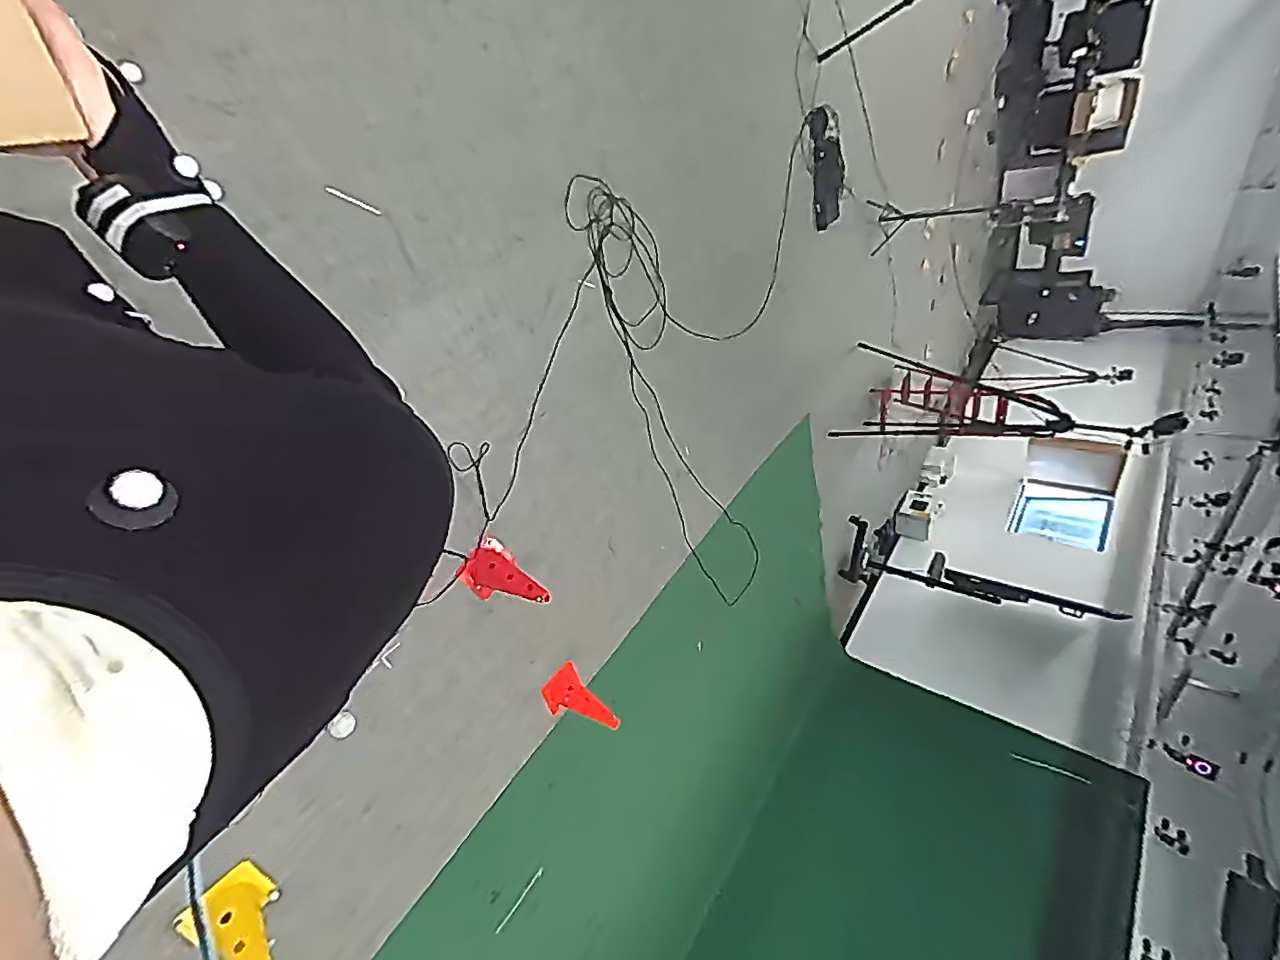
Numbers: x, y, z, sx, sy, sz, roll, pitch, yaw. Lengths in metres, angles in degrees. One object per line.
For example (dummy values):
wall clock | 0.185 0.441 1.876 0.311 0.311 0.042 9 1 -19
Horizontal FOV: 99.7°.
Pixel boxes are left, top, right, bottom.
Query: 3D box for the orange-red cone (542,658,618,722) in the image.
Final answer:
orange-red cone | -0.241 0.990 2.437 0.199 0.360 0.198 -41 132 -37
